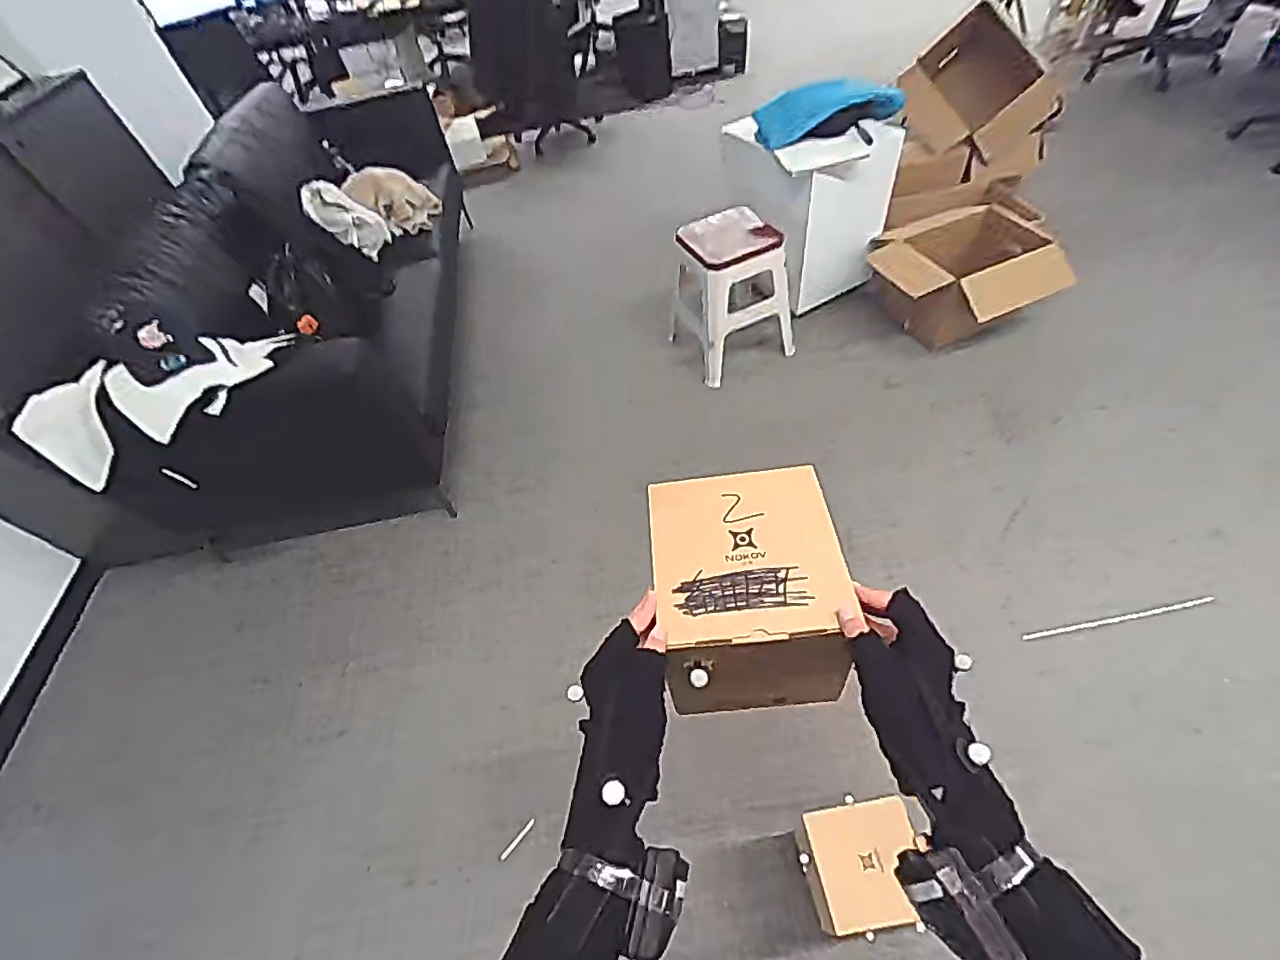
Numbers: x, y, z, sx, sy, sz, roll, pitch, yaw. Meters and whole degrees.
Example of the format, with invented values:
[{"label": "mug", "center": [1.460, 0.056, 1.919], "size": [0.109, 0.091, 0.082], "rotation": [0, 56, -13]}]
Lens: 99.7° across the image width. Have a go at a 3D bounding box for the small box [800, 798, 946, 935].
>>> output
[{"label": "small box", "center": [0.387, 0.675, 0.941], "size": [0.179, 0.176, 0.168], "rotation": [-11, 51, 0]}]
